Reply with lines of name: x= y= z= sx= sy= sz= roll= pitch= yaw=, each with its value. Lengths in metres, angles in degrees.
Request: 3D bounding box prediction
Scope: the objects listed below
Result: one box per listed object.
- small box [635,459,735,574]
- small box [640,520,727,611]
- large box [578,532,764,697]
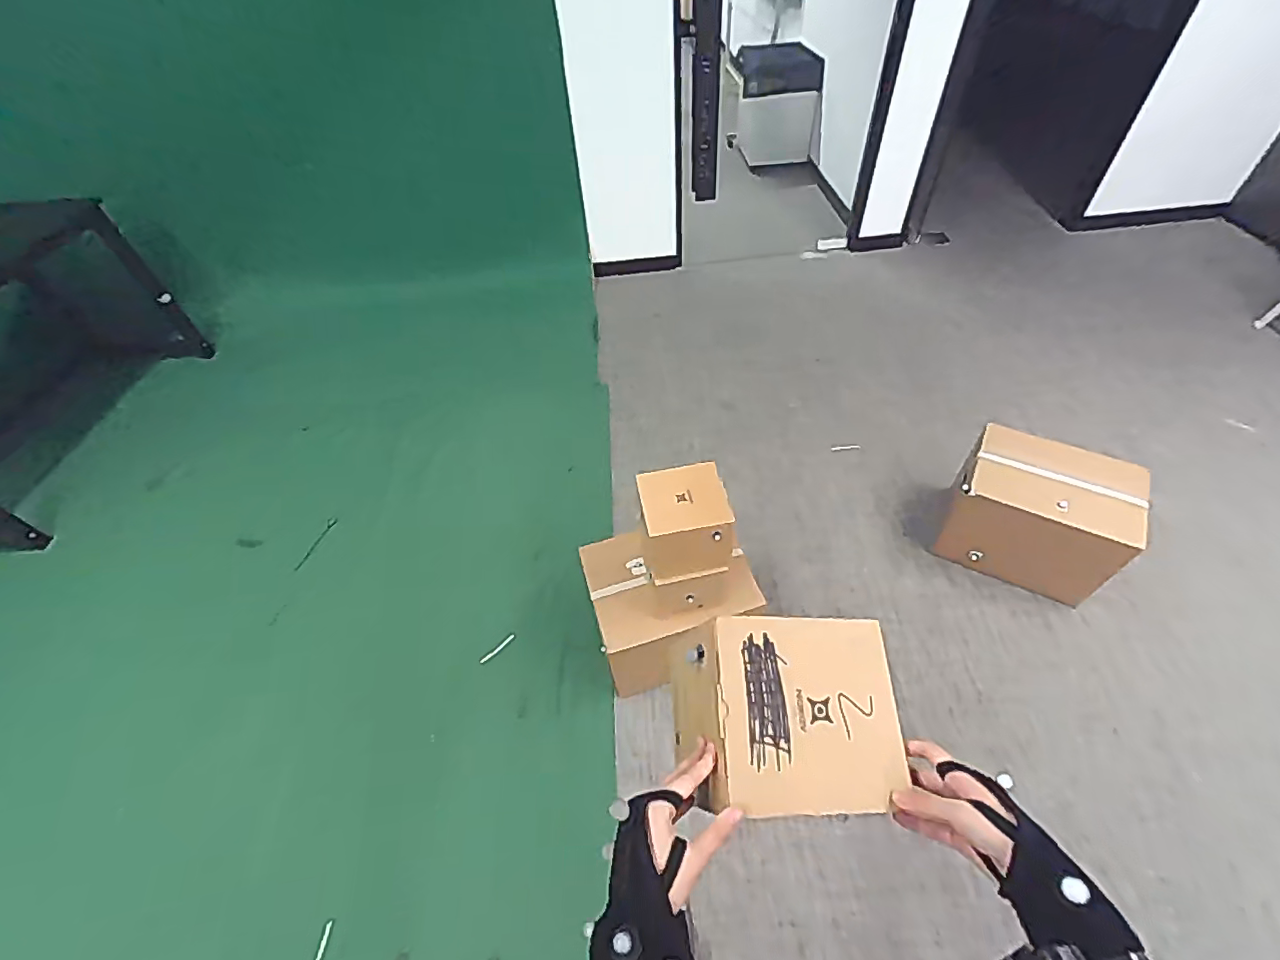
small box: x=0.093 y=0.082 z=1.154 sx=0.179 sy=0.176 sz=0.168 roll=-10 pitch=50 yaw=-5
small box: x=0.099 y=0.193 z=1.272 sx=0.168 sy=0.176 sz=0.179 roll=-10 pitch=50 yaw=-6
large box: x=0.080 y=0.338 z=1.475 sx=0.408 sy=0.320 sz=0.320 roll=-16 pitch=49 yaw=-8
